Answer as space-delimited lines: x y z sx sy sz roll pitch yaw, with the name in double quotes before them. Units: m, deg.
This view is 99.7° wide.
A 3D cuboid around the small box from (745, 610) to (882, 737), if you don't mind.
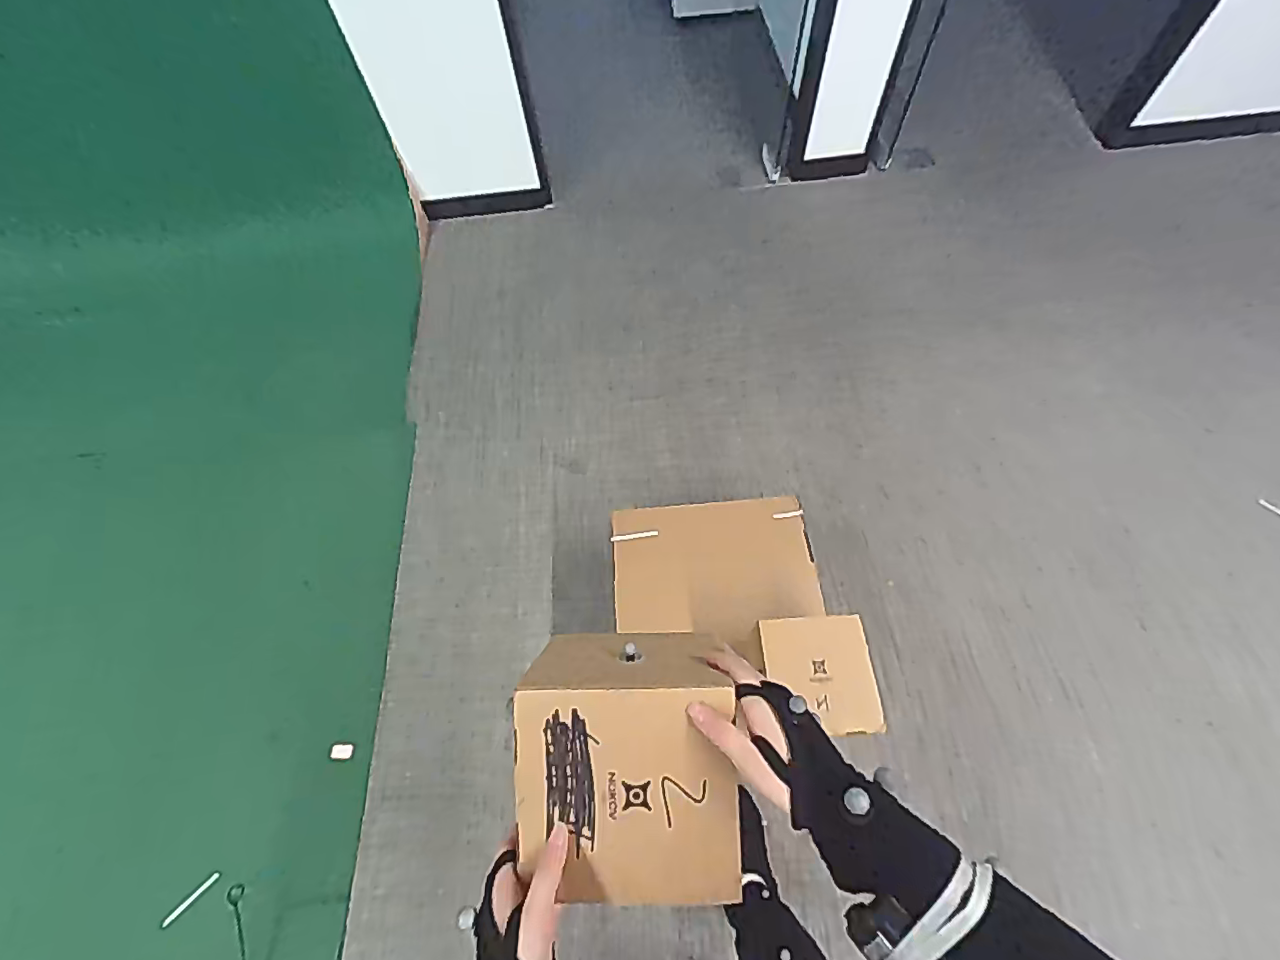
"small box" 0.277 0.329 0.909 0.168 0.176 0.179 -3 62 1
